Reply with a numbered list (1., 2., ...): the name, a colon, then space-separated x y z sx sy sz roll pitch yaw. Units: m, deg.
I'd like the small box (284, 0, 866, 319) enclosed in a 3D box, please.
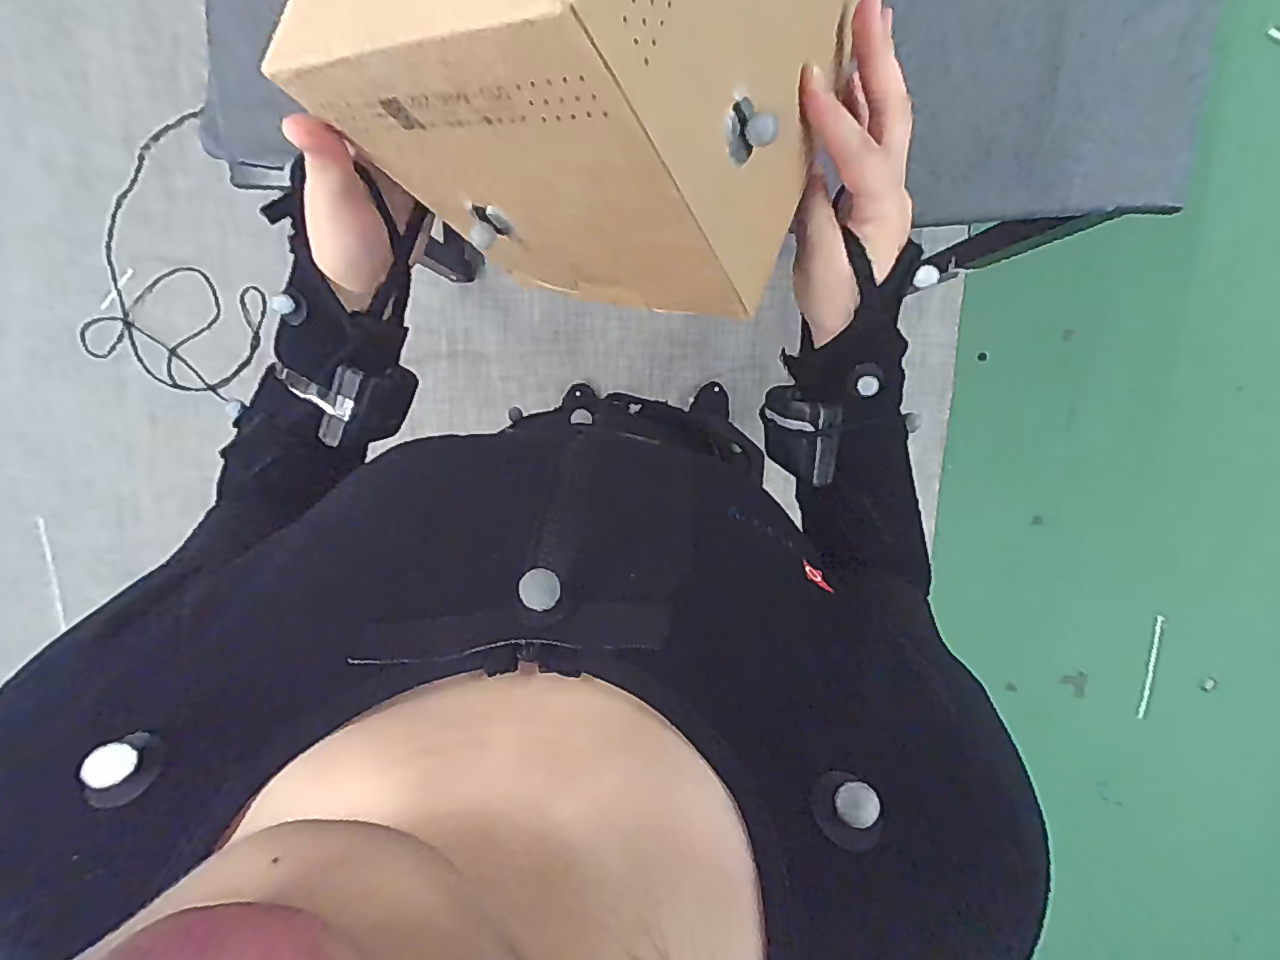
1. small box: -0.017 -0.200 0.244 0.168 0.176 0.179 21 89 29
